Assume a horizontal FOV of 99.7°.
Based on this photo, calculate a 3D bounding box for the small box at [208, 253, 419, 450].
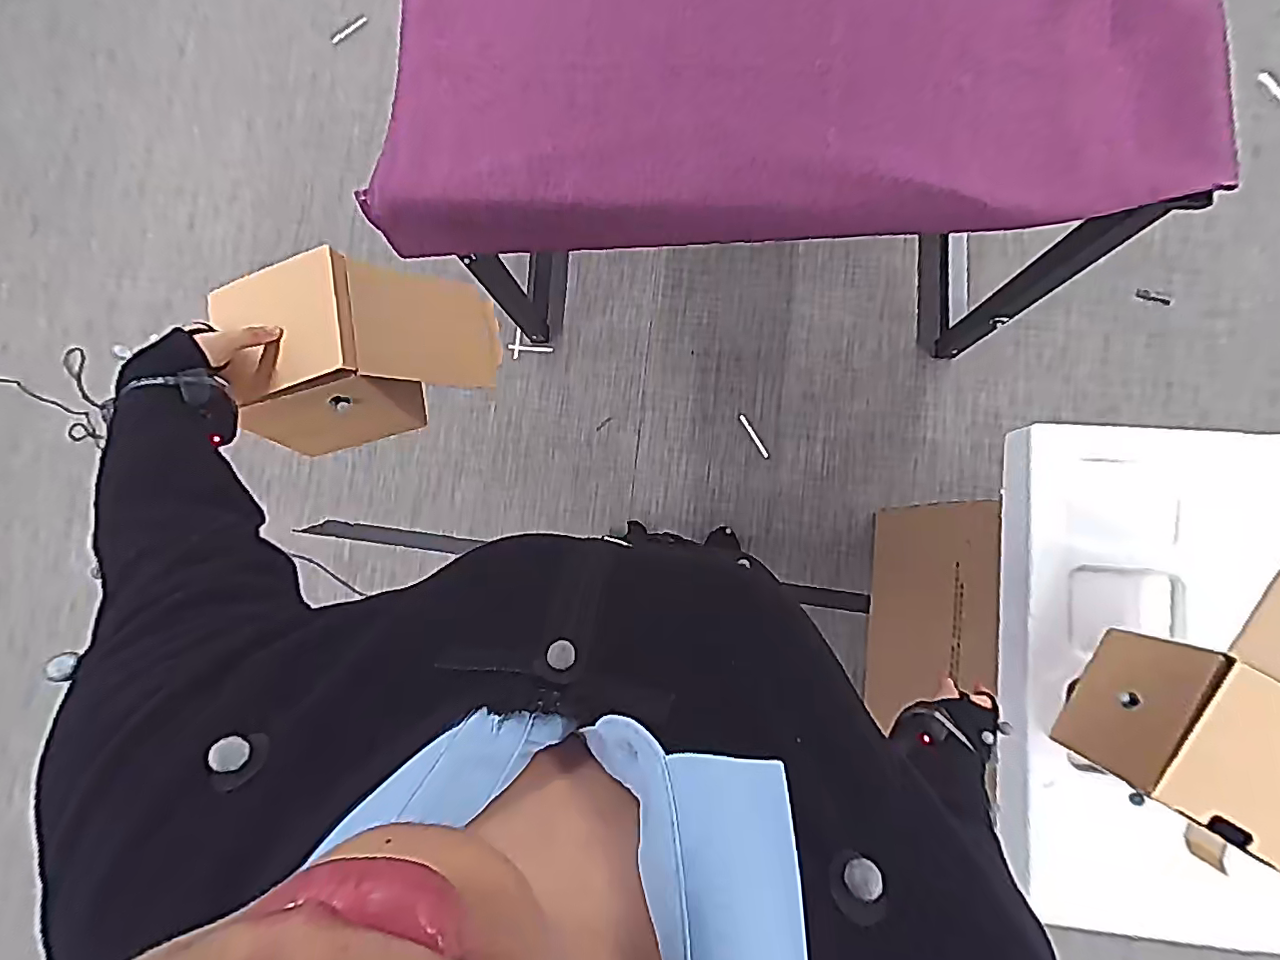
[{"bbox_3d":[-0.406,-0.154,0.699,0.179,0.176,0.168,-15,74,2],"label":"small box"}]
